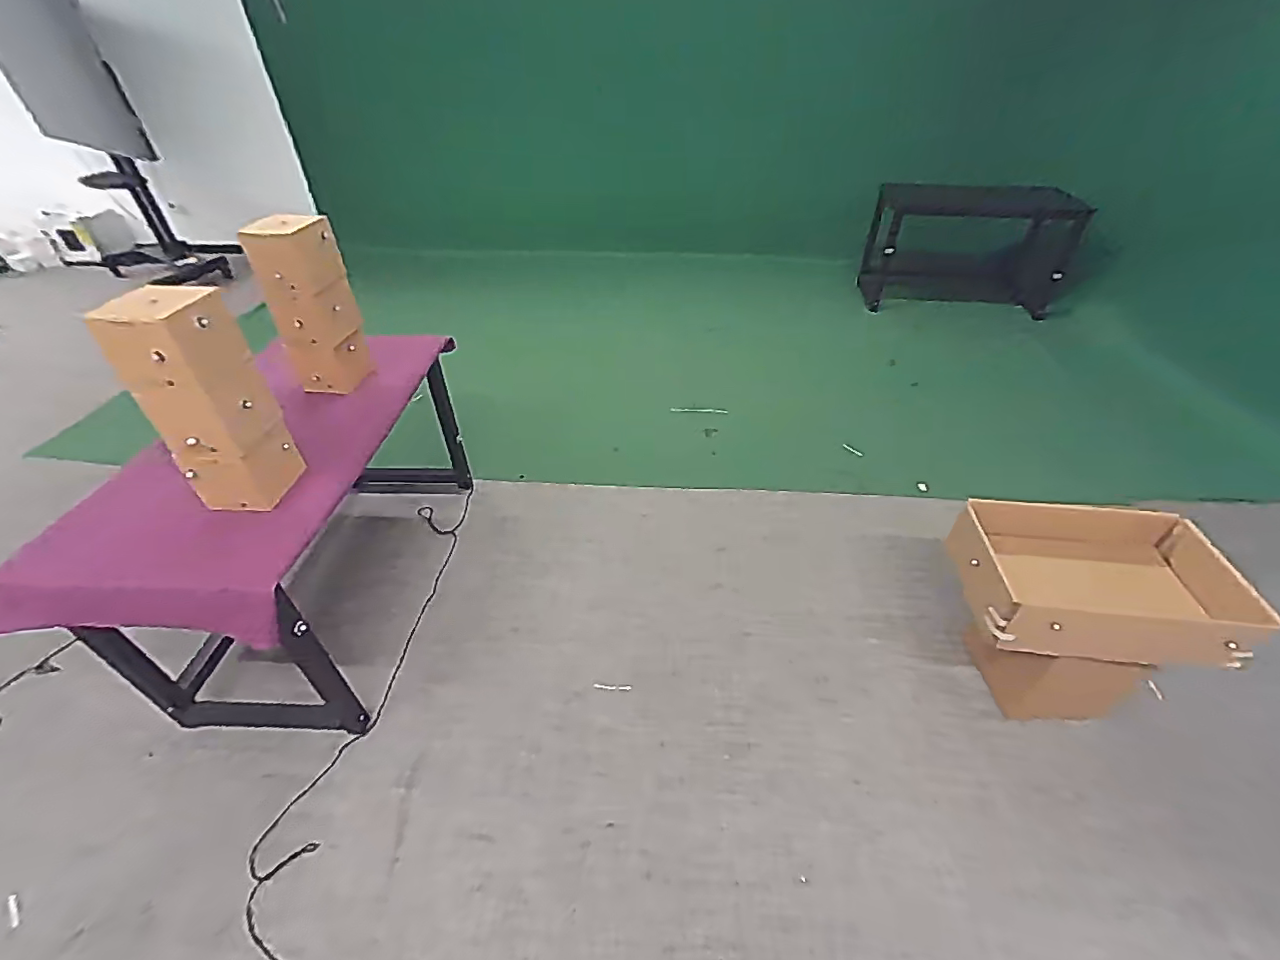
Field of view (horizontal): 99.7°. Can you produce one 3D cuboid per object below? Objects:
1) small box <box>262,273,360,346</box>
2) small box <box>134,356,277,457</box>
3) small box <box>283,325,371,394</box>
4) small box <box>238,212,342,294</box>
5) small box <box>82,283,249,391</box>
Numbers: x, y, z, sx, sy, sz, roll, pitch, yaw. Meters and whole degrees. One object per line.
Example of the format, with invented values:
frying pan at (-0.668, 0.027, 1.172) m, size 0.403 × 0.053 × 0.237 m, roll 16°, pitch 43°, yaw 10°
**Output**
small box at (-1.000, -0.528, 1.665) m, size 0.168 × 0.176 × 0.179 m, roll 6°, pitch 42°, yaw 5°
small box at (-0.979, -0.173, 1.243) m, size 0.168 × 0.176 × 0.179 m, roll 2°, pitch 41°, yaw 2°
small box at (-1.013, -0.405, 1.773) m, size 0.168 × 0.176 × 0.179 m, roll 5°, pitch 42°, yaw 5°
small box at (-0.995, -0.656, 1.561) m, size 0.168 × 0.176 × 0.179 m, roll 5°, pitch 42°, yaw 6°
small box at (-0.980, -0.301, 1.142) m, size 0.168 × 0.176 × 0.179 m, roll 3°, pitch 39°, yaw 2°
